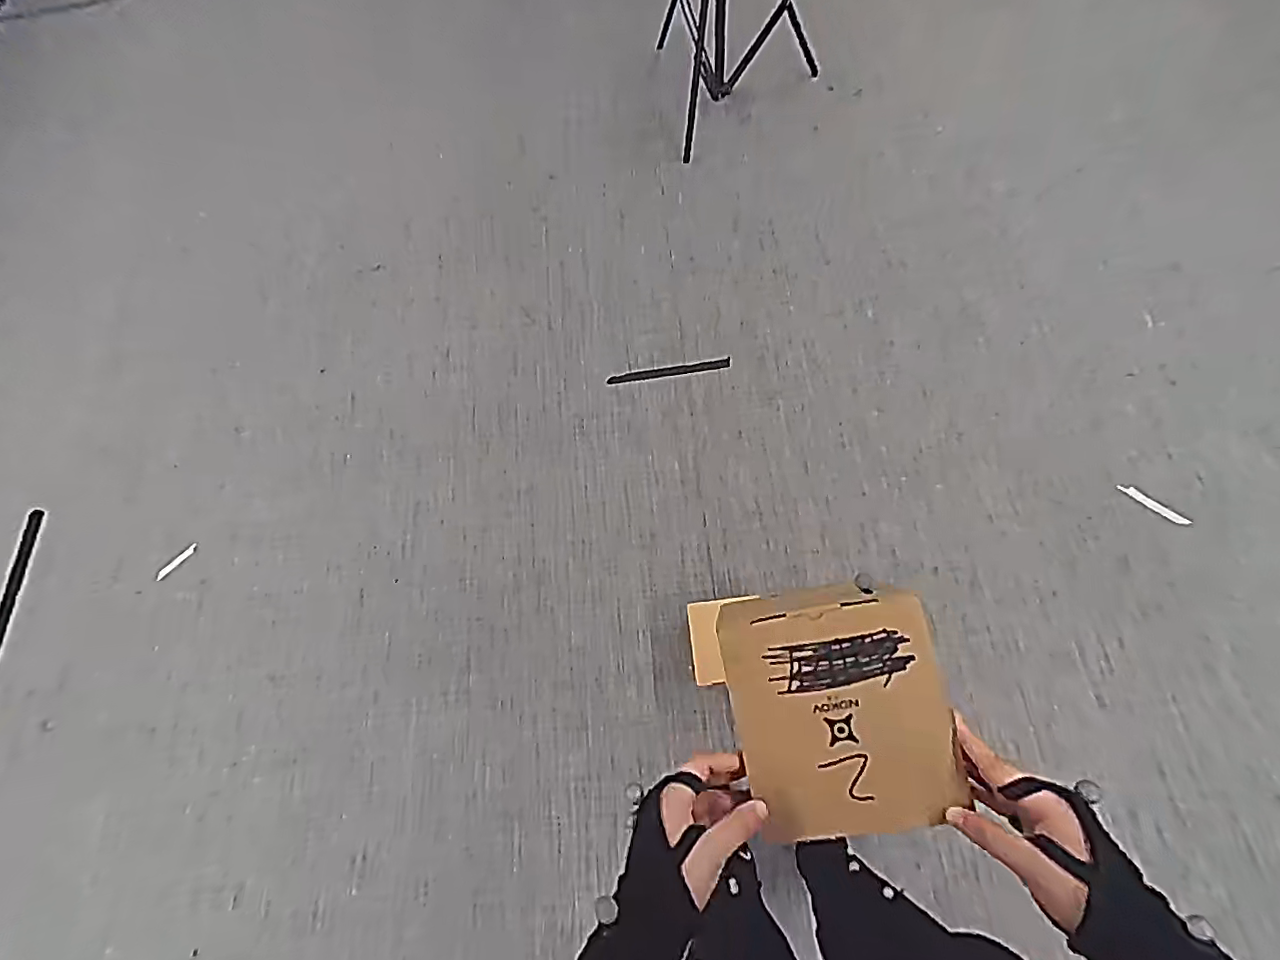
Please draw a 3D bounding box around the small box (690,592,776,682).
[{"bbox_3d":[0.206,0.366,1.244,0.168,0.176,0.179,-8,70,4],"label":"small box"}]
